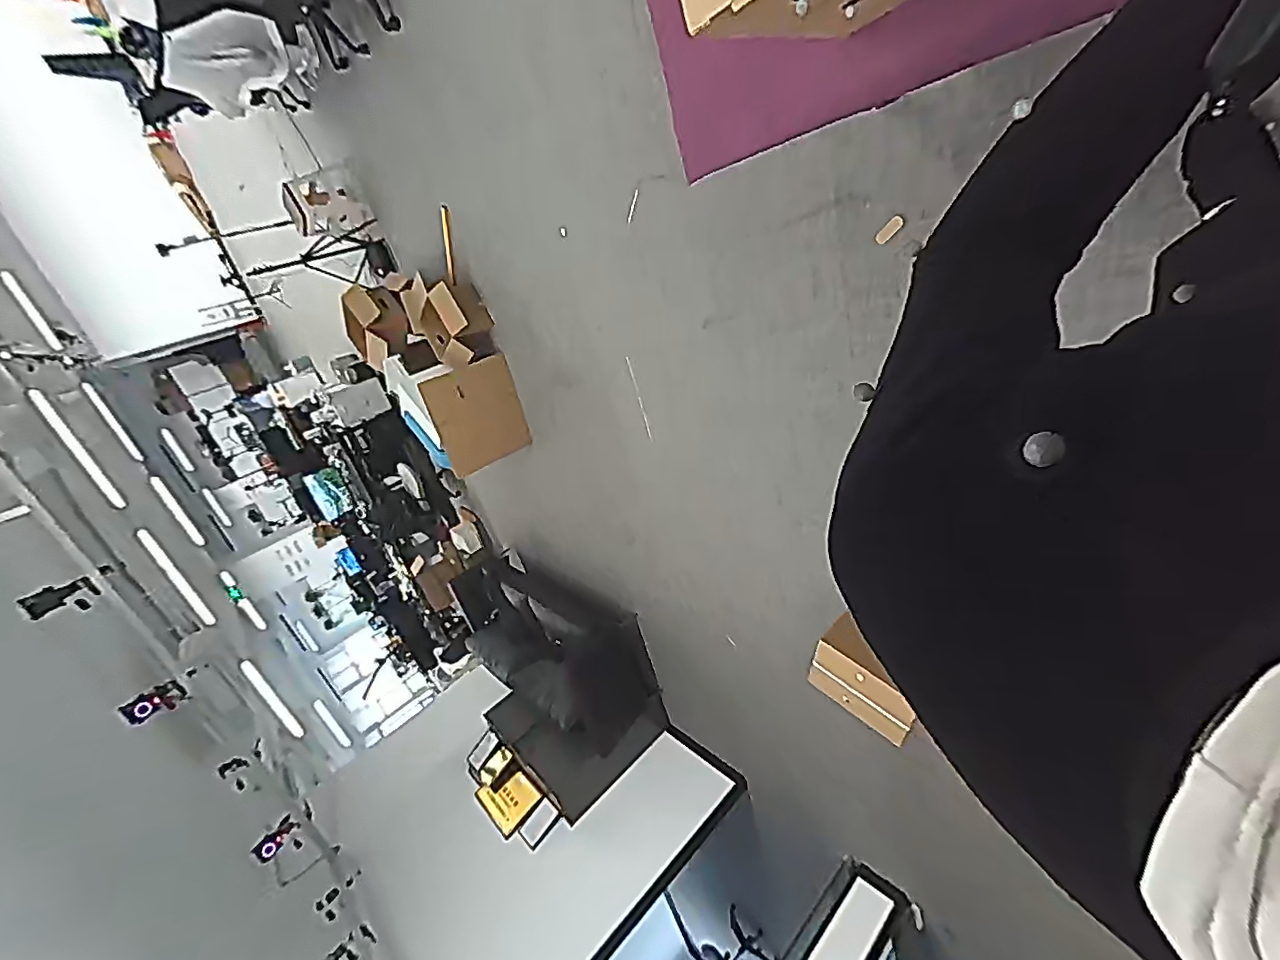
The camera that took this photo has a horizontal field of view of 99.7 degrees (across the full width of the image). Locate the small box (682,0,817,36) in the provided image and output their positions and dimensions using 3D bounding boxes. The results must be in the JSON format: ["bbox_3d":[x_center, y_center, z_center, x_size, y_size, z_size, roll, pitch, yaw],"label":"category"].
[{"bbox_3d":[0.139,-0.583,0.532,0.168,0.176,0.179,10,126,49],"label":"small box"}]

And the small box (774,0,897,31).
[{"bbox_3d":[0.258,-0.653,0.620,0.179,0.176,0.168,9,124,50],"label":"small box"}]
